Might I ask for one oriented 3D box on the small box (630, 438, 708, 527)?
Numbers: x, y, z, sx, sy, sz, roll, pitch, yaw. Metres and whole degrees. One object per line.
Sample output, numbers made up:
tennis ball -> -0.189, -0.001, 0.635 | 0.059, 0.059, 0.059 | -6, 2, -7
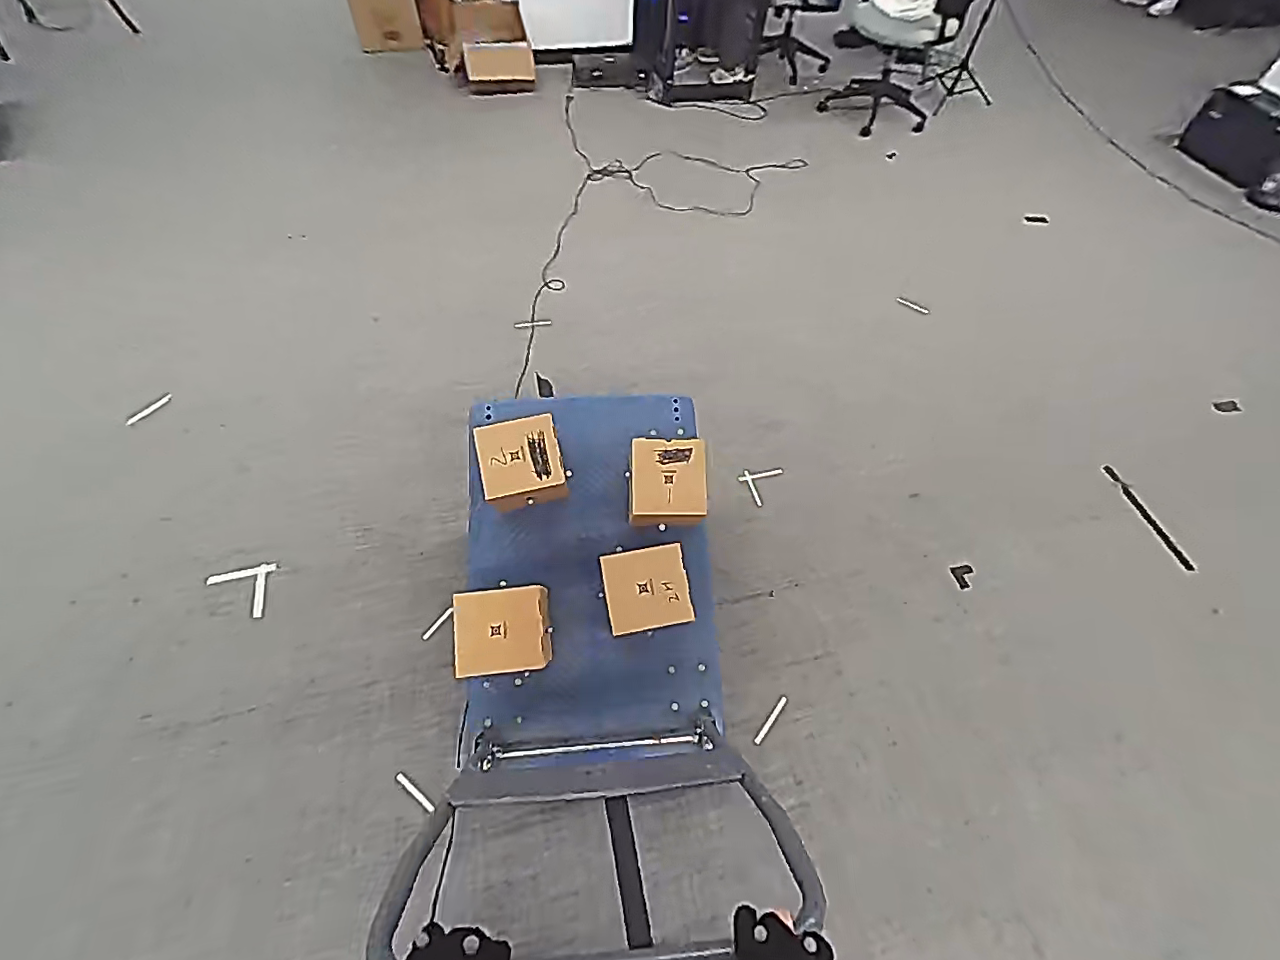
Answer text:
small box -> 0.062, 0.011, 1.266 | 0.168, 0.176, 0.179 | 0, 77, -3

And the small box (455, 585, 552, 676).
small box -> -0.289, 0.323, 1.169 | 0.179, 0.176, 0.168 | -5, 77, -6

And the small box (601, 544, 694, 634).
small box -> 0.012, 0.245, 1.205 | 0.179, 0.176, 0.168 | -9, 78, -6
